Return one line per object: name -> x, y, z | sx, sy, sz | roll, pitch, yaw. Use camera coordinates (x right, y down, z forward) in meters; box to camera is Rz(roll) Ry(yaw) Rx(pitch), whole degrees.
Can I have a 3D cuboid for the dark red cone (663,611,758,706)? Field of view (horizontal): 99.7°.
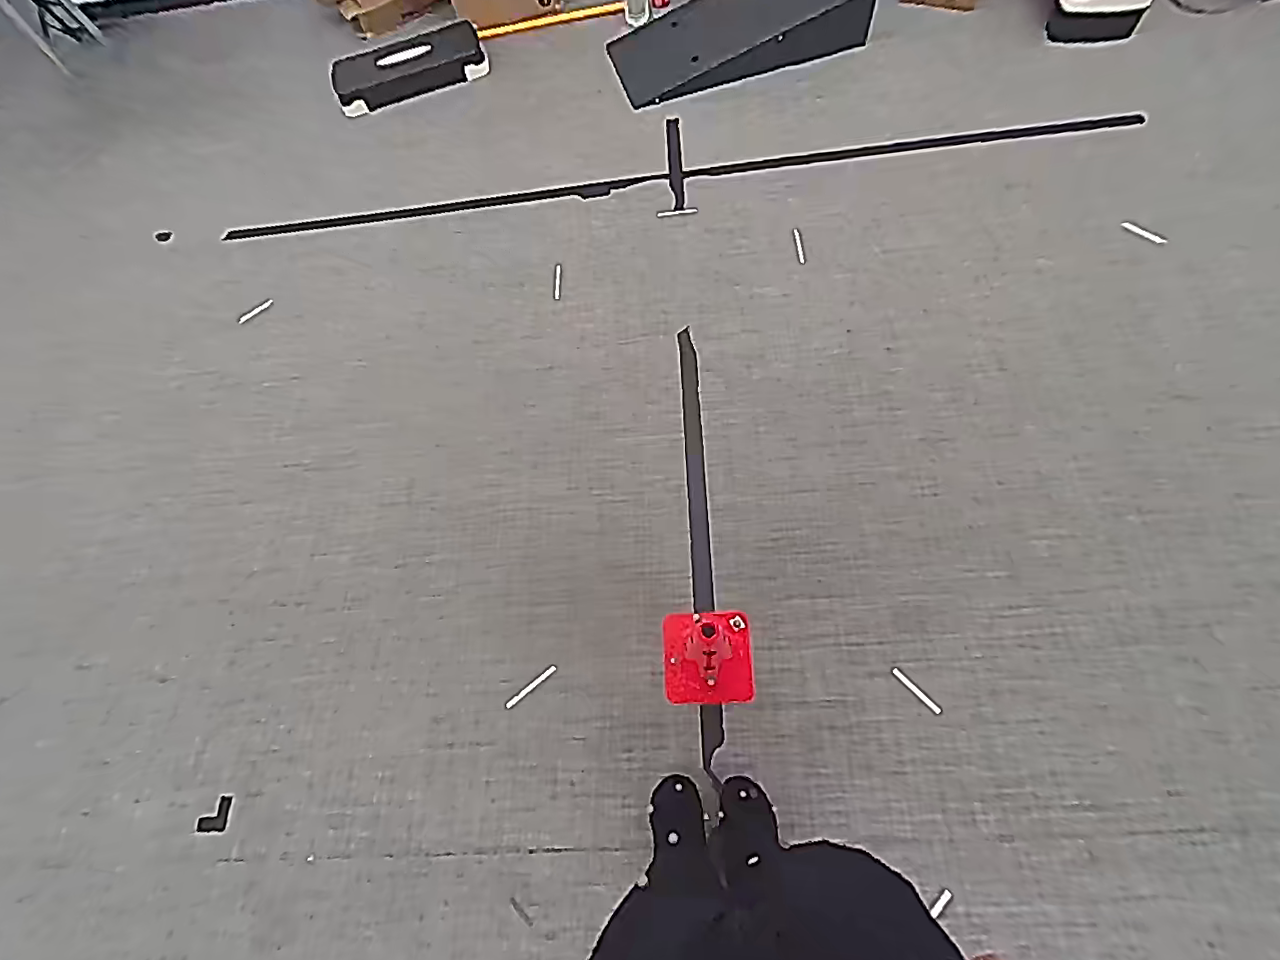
dark red cone -> 0.134, 0.329, 1.066 | 0.201, 0.394, 0.202 | -5, 65, 6
